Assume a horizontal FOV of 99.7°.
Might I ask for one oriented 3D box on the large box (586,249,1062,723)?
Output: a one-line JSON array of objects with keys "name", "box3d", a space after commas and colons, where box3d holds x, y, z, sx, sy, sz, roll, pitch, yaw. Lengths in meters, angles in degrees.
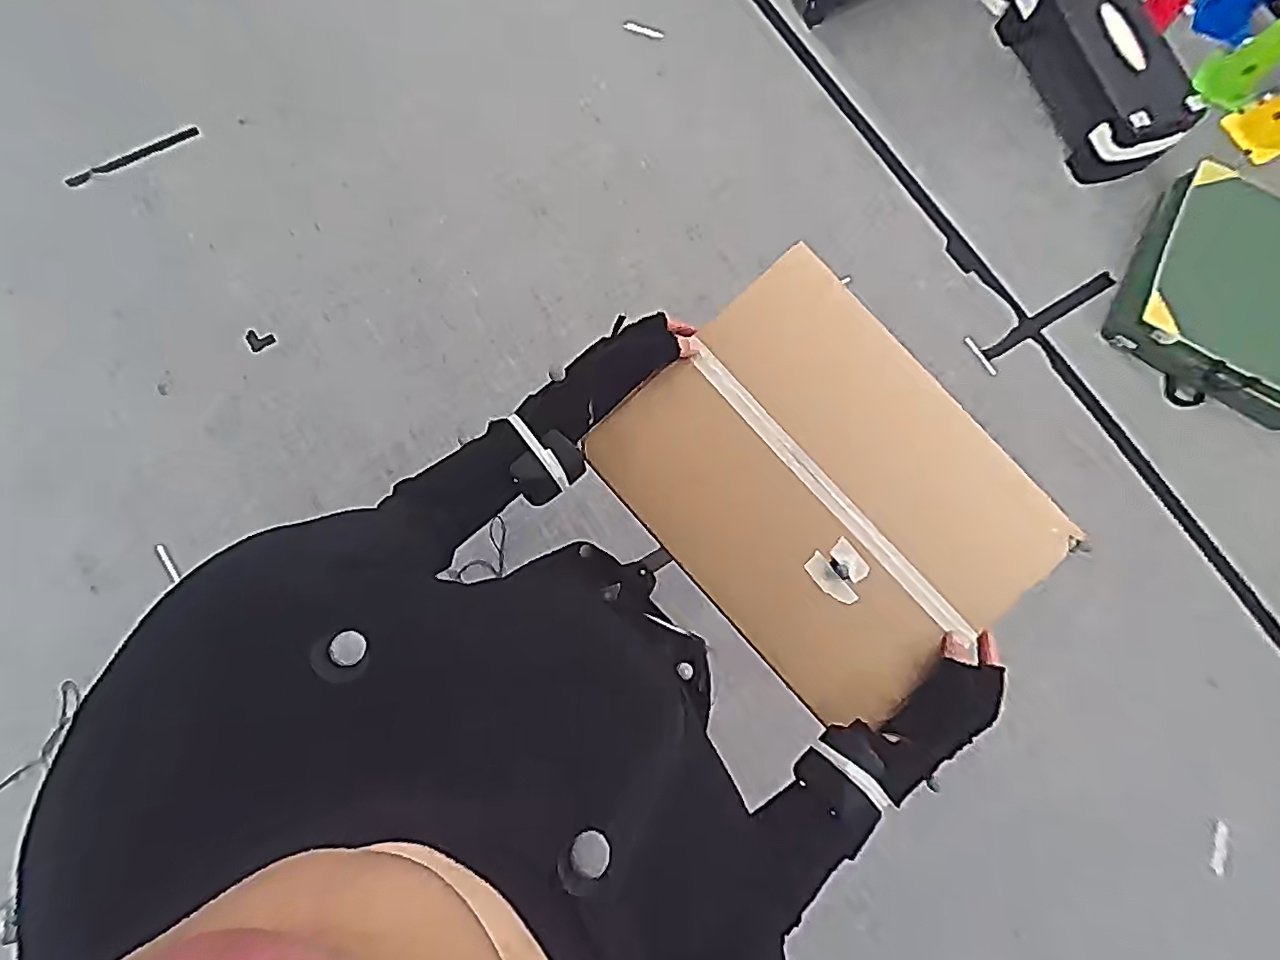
[{"name": "large box", "box3d": [0.185, 0.007, 0.699, 0.320, 0.320, 0.408, -42, 88, -1]}]
